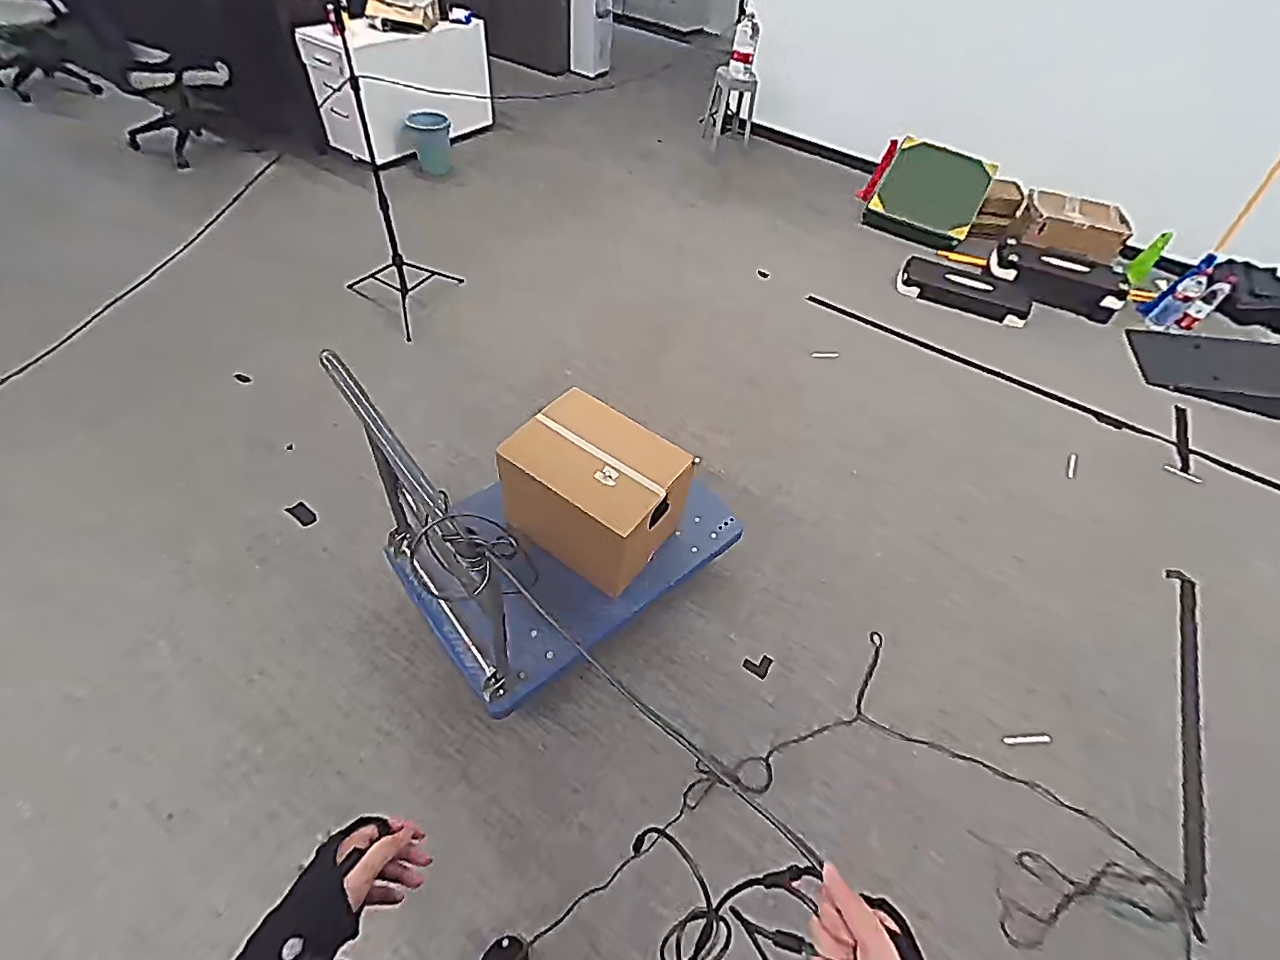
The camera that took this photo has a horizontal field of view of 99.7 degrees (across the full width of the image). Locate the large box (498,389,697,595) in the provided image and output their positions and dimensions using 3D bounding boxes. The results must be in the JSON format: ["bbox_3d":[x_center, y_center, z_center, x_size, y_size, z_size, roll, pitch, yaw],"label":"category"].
[{"bbox_3d":[-0.119,0.030,1.454,0.408,0.320,0.320,32,55,16],"label":"large box"}]
